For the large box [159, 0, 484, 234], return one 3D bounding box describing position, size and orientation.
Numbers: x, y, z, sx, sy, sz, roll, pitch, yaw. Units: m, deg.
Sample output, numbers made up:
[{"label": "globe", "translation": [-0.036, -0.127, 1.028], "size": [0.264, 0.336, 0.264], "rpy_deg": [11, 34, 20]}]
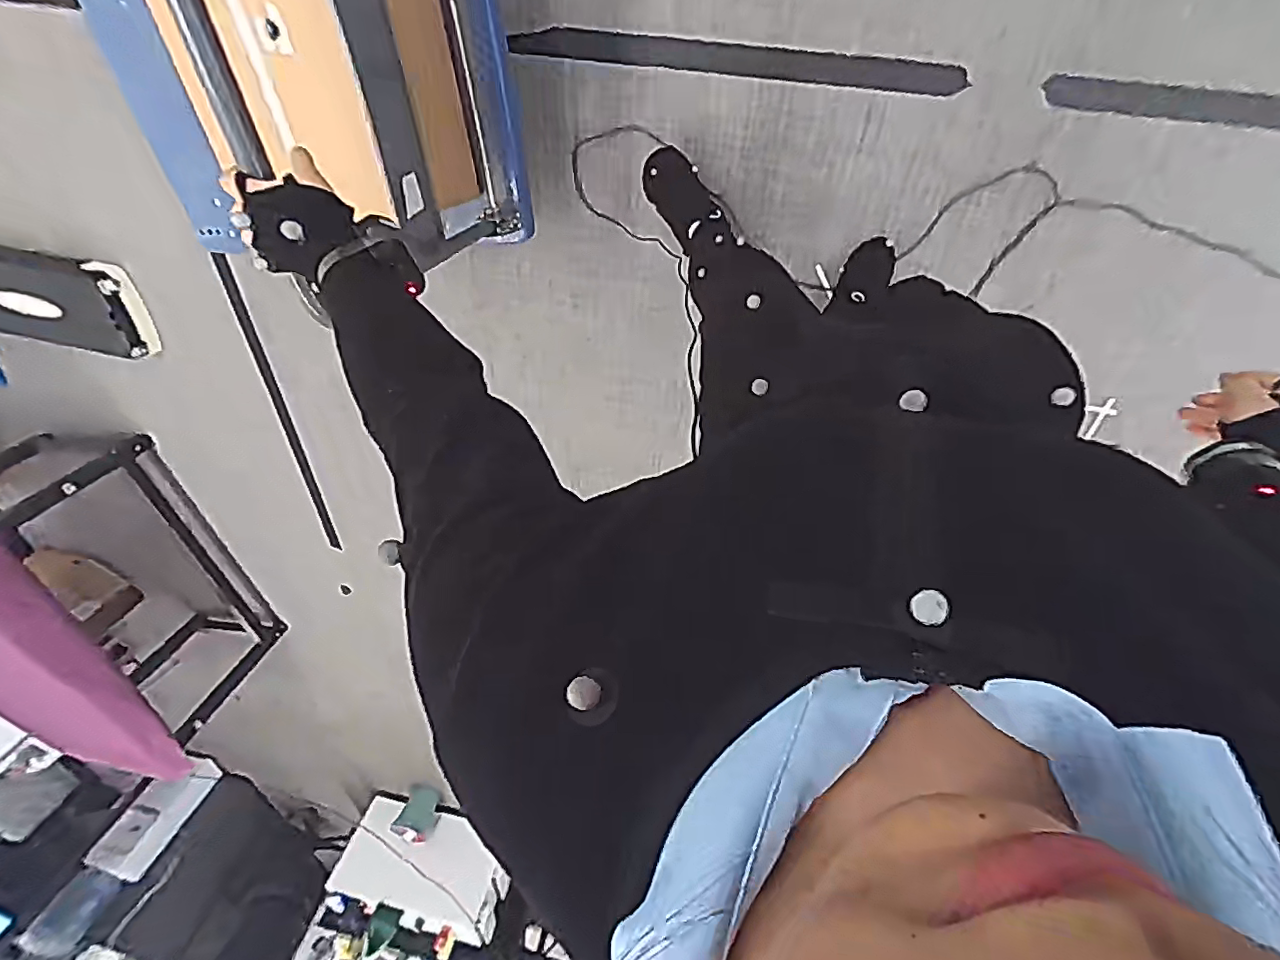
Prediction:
[{"label": "large box", "translation": [-0.523, -0.686, 0.957], "size": [0.320, 0.320, 0.408], "rpy_deg": [3, 125, 12]}]
